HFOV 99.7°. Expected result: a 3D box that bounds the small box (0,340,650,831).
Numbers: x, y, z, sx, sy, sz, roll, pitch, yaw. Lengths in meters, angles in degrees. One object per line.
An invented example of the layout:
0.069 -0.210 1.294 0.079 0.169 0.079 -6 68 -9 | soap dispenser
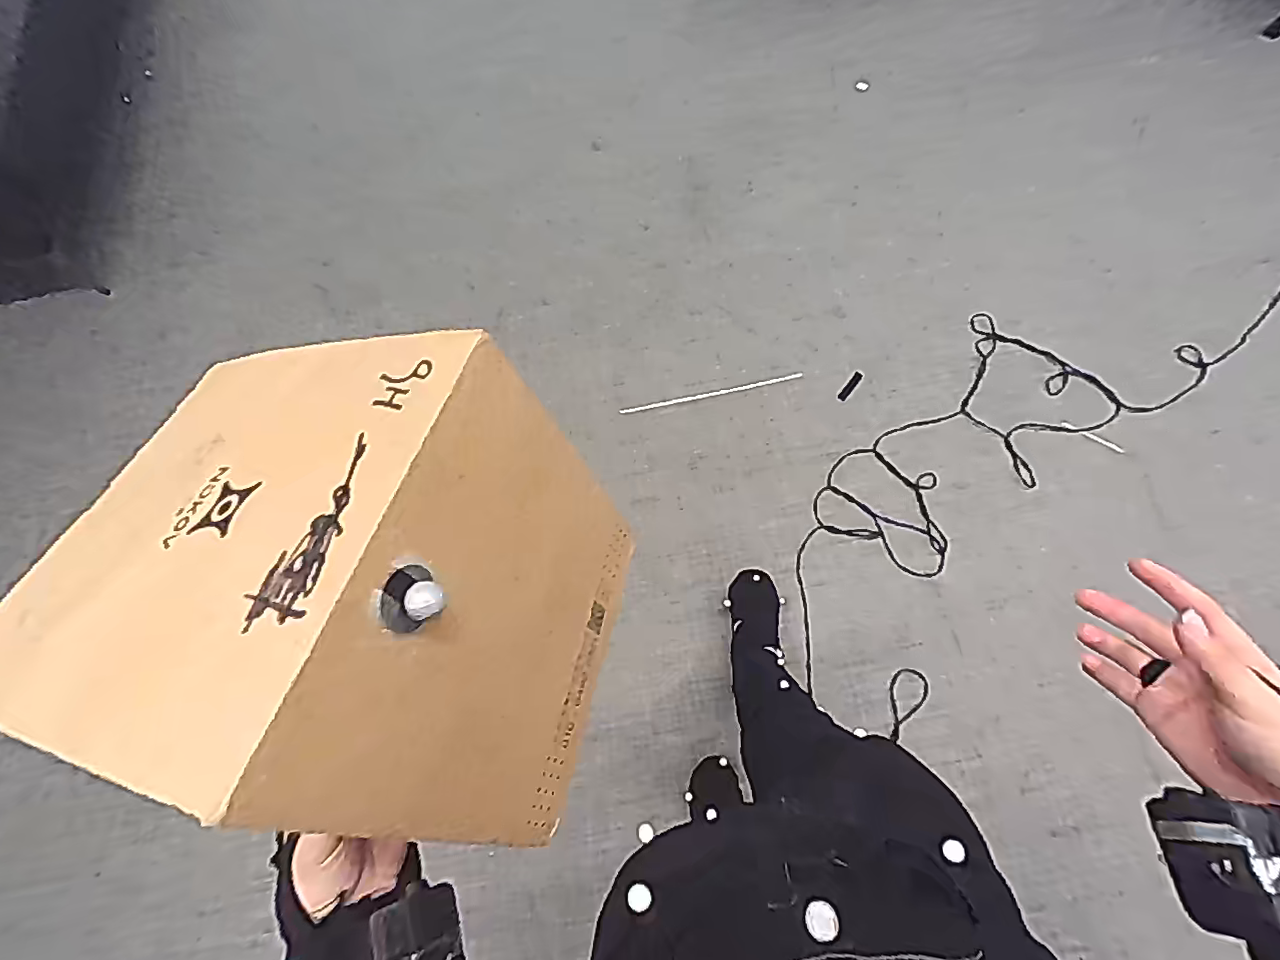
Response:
-0.117 0.058 0.267 0.179 0.176 0.168 0 58 25 | small box
